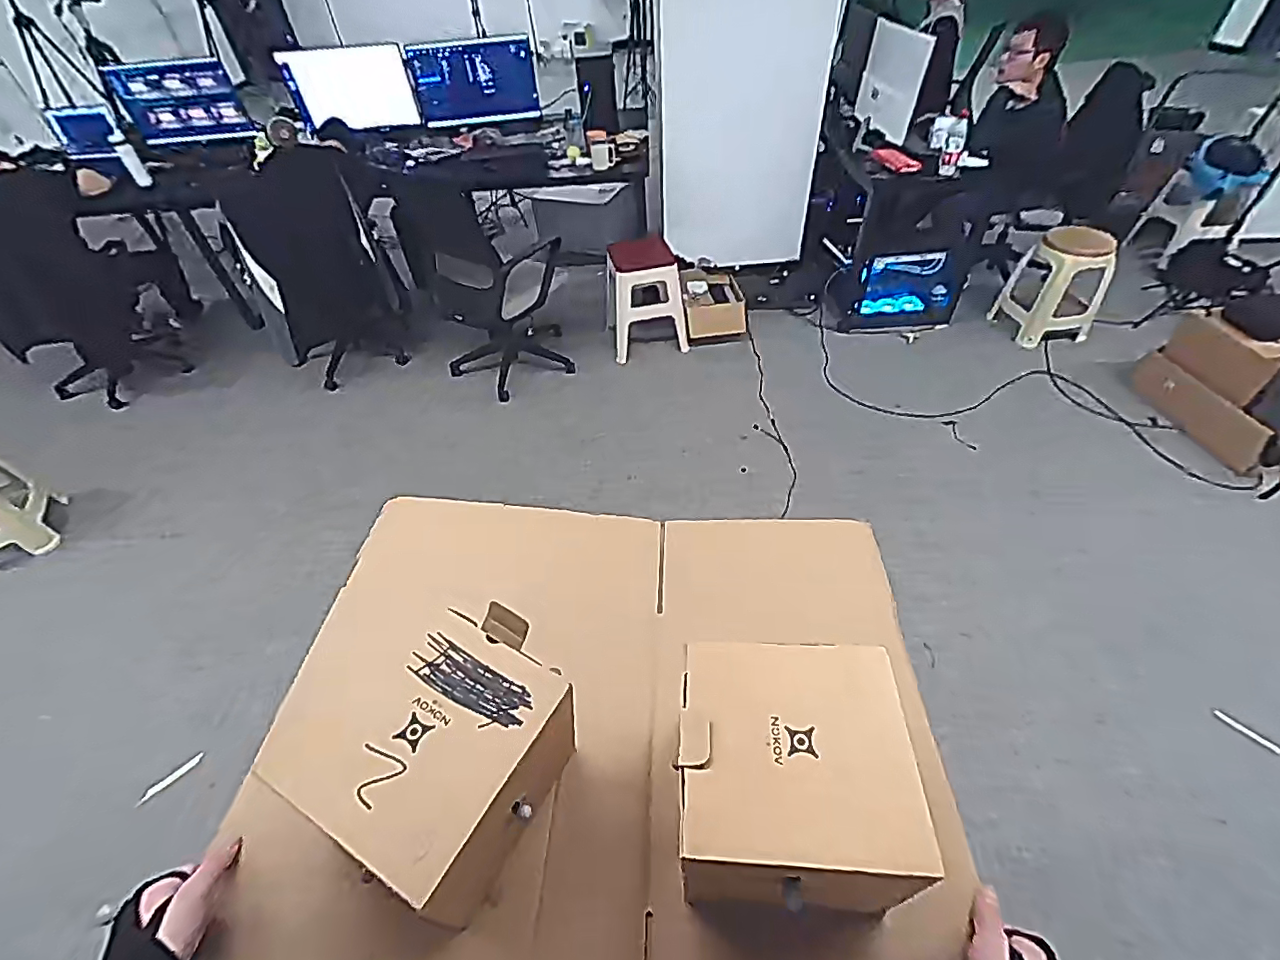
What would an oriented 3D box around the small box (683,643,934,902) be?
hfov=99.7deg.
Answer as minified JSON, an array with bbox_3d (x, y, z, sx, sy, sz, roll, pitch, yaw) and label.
[{"bbox_3d":[0.130,0.265,0.490,0.179,0.176,0.168,-1,45,7],"label":"small box"}]
